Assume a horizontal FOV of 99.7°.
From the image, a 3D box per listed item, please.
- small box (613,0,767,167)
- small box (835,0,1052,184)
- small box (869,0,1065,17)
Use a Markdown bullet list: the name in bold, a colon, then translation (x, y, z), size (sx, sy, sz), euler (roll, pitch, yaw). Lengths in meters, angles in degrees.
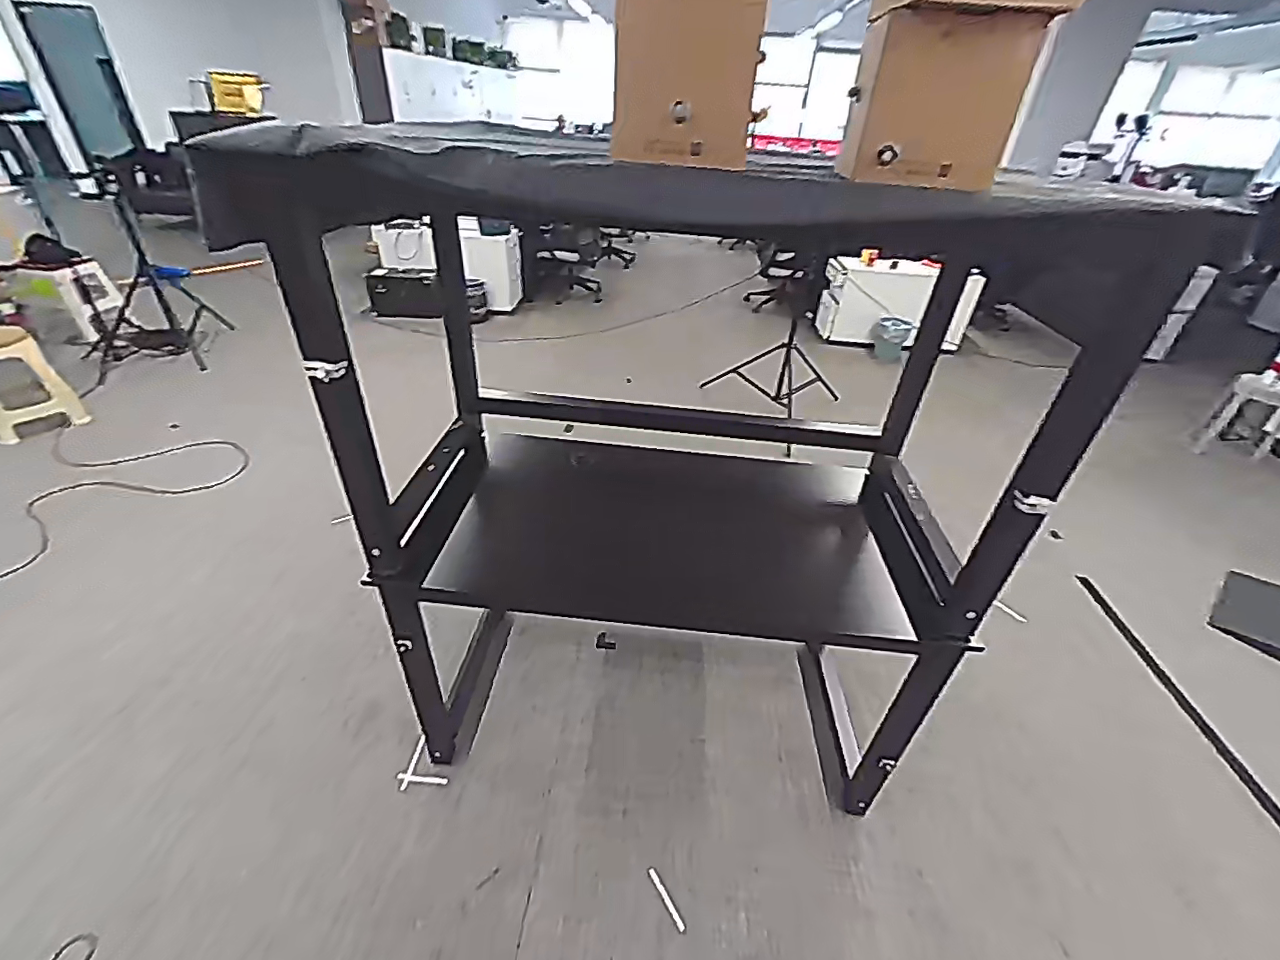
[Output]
- **small box**: translation (0.059, -0.503, 0.684), size (0.168, 0.176, 0.179), euler (6, 33, 3)
- **small box**: translation (0.357, -0.475, 0.677), size (0.168, 0.176, 0.179), euler (8, 33, 6)
- **small box**: translation (0.363, -0.592, 0.560), size (0.168, 0.176, 0.179), euler (5, 33, 0)
